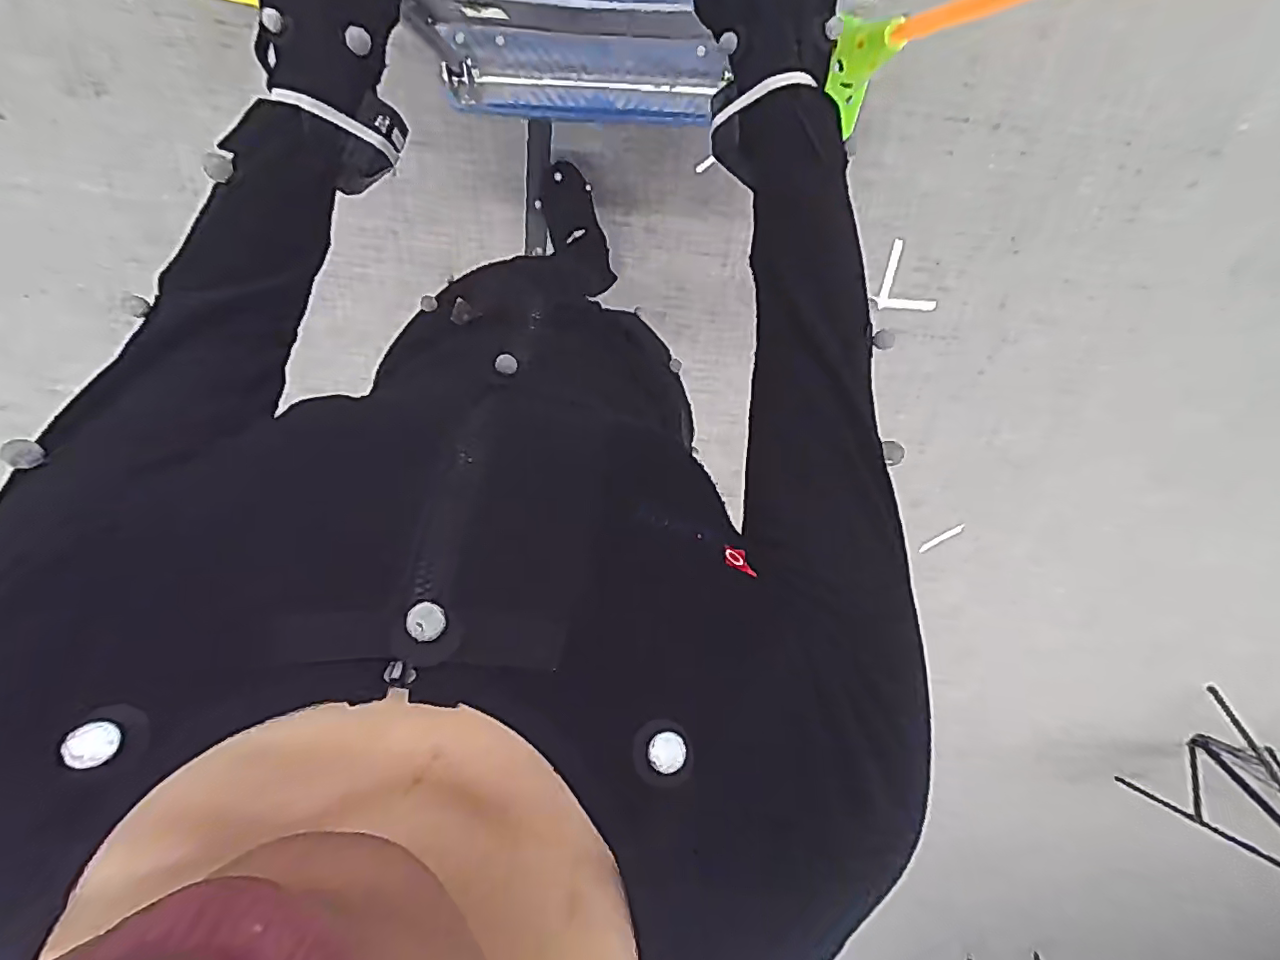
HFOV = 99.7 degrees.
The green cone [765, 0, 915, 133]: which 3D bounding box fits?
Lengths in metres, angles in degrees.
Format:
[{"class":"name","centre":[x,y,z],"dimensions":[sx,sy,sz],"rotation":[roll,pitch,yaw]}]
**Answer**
[{"class":"green cone","centre":[0.383,-0.765,0.971],"dimensions":[0.202,0.368,0.200],"rotation":[8,120,-8]}]
